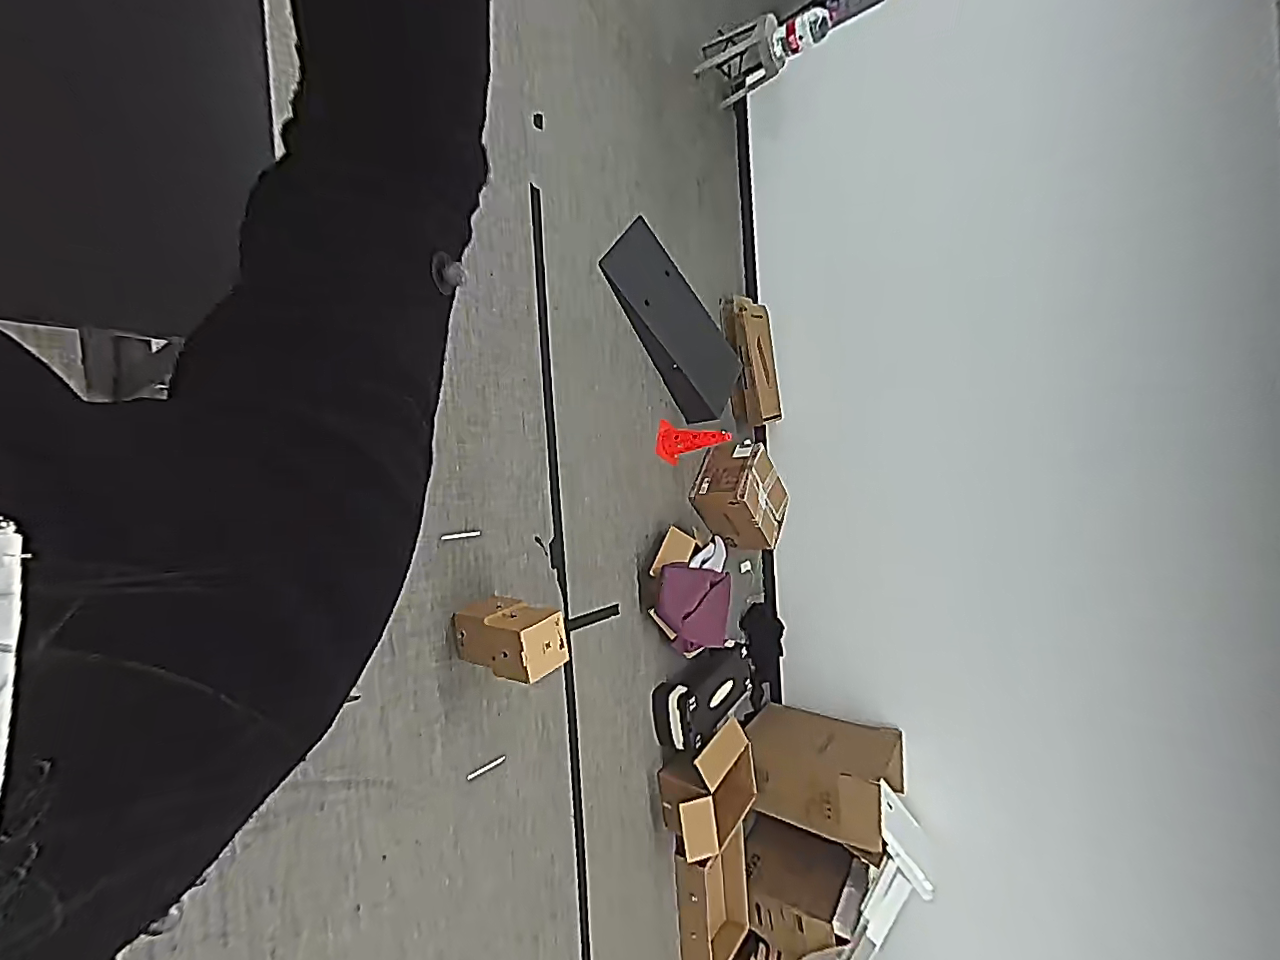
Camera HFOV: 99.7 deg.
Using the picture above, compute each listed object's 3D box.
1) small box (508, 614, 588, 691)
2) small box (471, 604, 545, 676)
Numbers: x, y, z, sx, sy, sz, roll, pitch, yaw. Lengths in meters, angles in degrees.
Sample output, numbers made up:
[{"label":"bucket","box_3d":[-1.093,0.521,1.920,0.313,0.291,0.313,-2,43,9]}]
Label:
[{"label":"small box","box_3d":[-0.288,0.524,1.665,0.179,0.176,0.168,-17,101,-53]},{"label":"small box","box_3d":[-0.421,0.512,1.762,0.179,0.176,0.168,-15,99,-52]}]
